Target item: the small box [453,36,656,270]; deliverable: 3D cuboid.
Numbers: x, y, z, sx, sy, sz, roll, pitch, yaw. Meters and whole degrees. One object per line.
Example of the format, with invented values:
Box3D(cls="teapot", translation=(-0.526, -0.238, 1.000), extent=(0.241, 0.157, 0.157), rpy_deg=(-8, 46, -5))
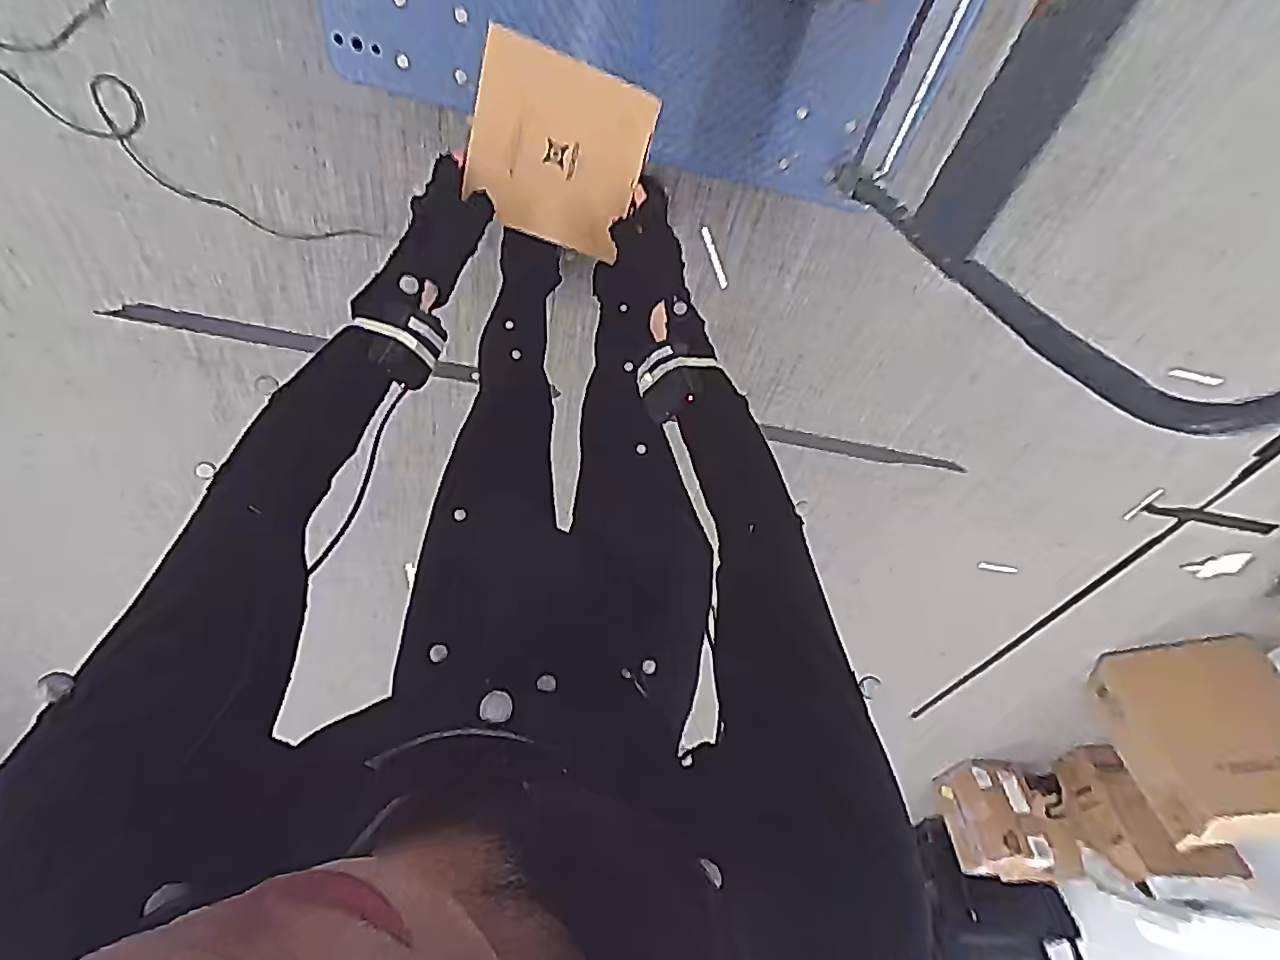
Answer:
Box3D(cls="small box", translation=(-0.104, -0.358, 0.625), extent=(0.179, 0.176, 0.168), rpy_deg=(12, 111, -18))
